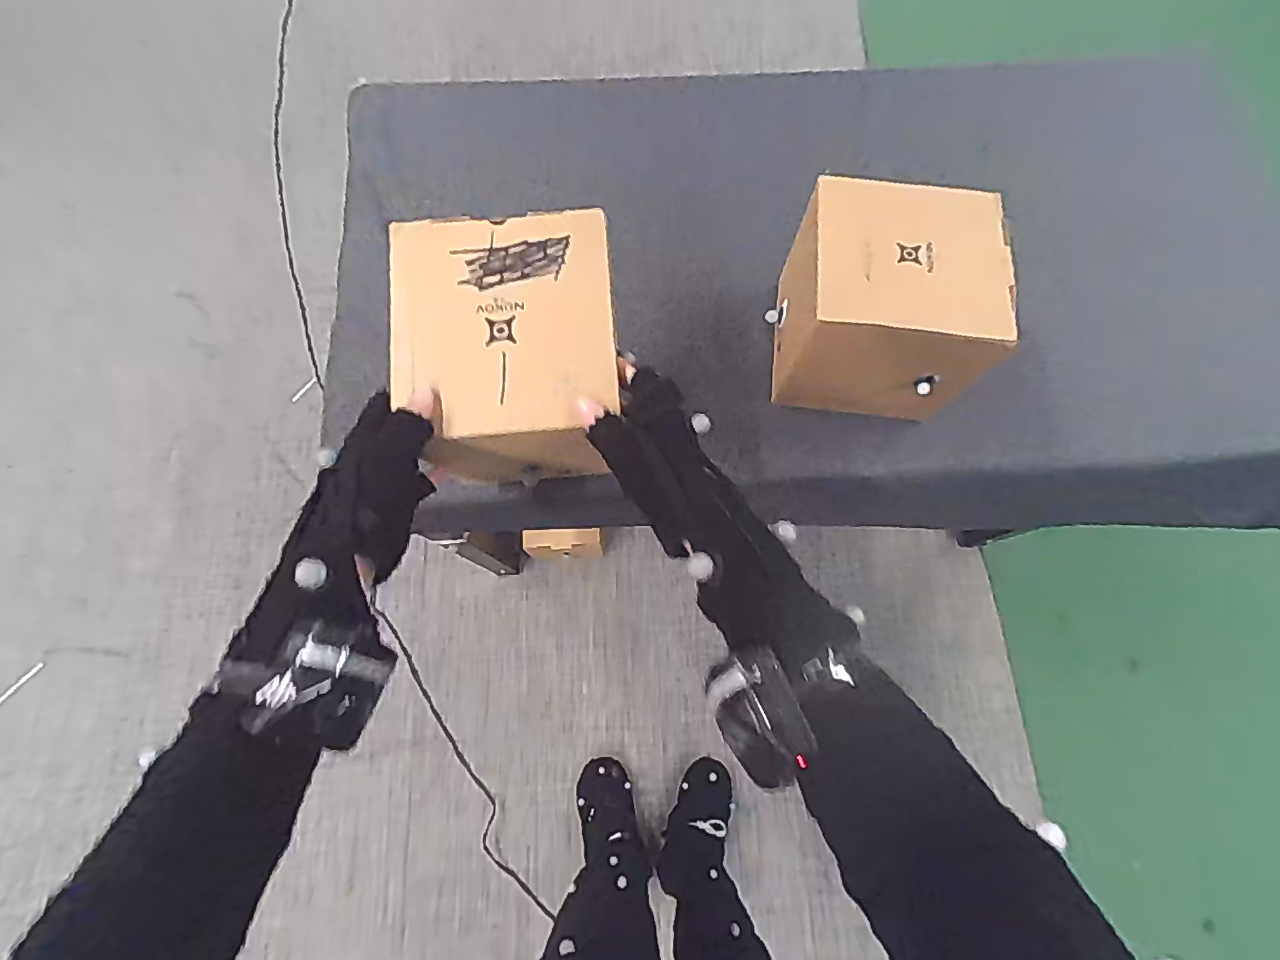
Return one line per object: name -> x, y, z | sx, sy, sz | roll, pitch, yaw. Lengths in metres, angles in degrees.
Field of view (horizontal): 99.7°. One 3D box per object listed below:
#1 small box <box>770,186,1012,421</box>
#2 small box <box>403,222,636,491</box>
small box -> 0.248, -0.174, 0.575 | 0.179, 0.176, 0.168 | 6, 71, 1
small box -> -0.093, -0.094, 0.476 | 0.168, 0.176, 0.179 | -5, 80, -1
